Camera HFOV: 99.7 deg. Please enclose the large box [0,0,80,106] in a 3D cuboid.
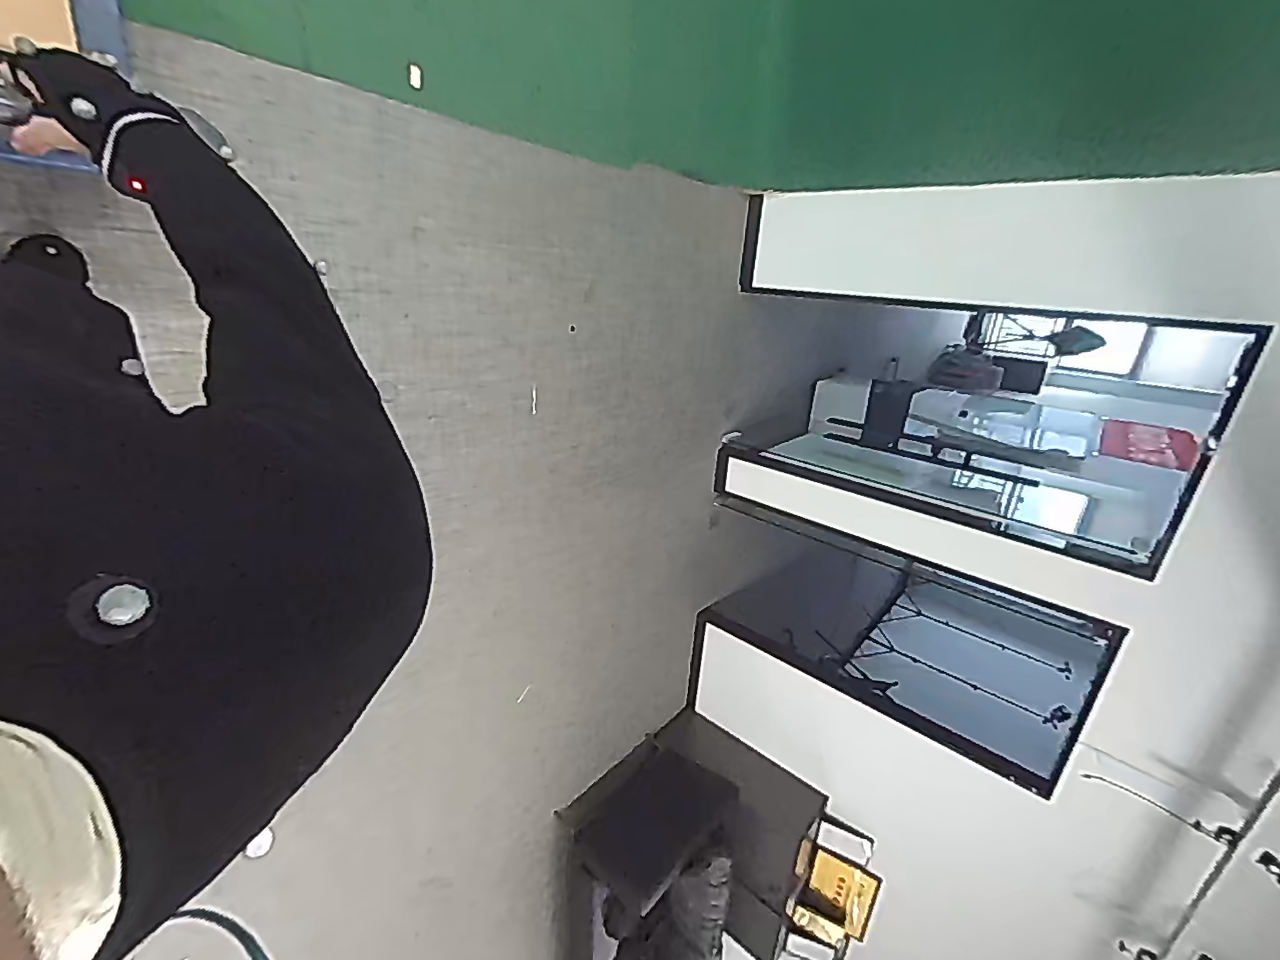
[{"bbox_3d":[-0.972,-0.754,0.663,0.320,0.320,0.408,-17,118,-48],"label":"large box"}]
